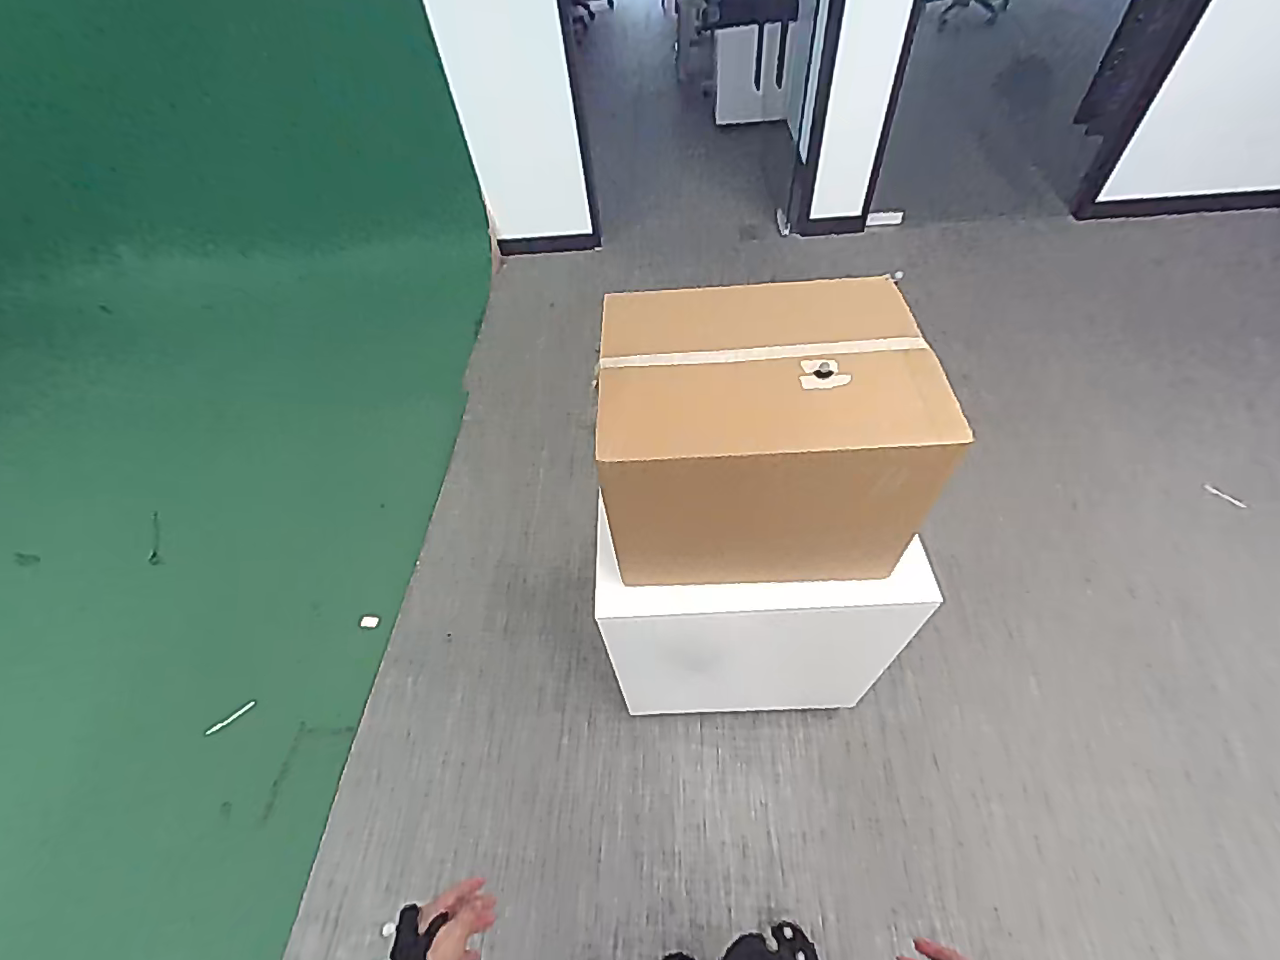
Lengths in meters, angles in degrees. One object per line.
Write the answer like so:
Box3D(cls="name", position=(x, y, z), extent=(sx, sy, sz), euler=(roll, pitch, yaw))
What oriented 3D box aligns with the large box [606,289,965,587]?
Box3D(cls="large box", position=(0.163, -0.052, 0.800), extent=(0.408, 0.320, 0.320), euler=(-2, 53, 2))
